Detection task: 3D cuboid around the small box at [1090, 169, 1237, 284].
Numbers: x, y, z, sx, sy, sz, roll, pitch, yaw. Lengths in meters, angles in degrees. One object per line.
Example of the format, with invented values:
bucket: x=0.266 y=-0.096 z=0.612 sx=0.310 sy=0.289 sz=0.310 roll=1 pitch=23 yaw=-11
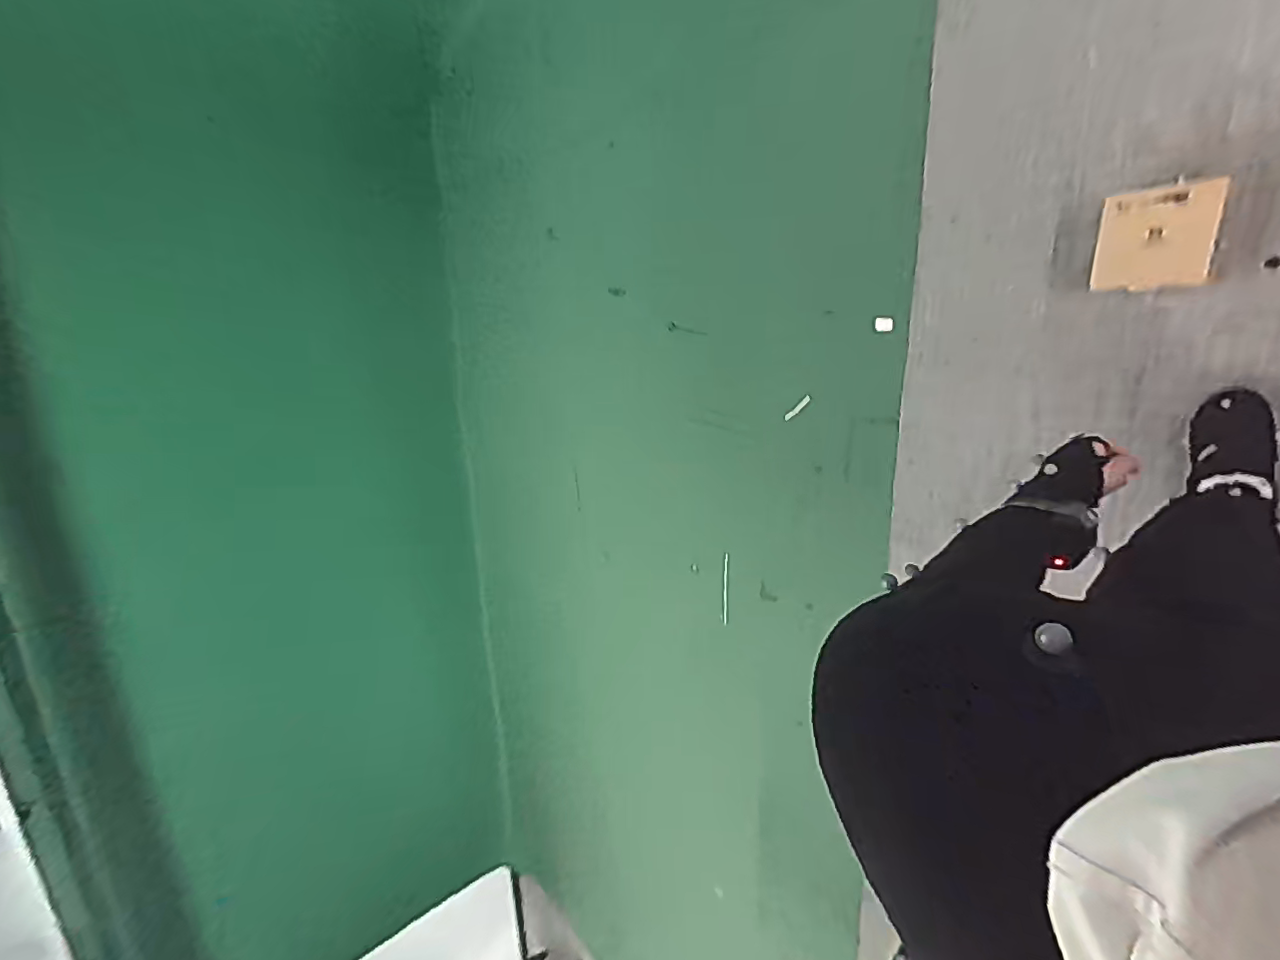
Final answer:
small box: x=1.003 y=-0.472 z=1.036 sx=0.168 sy=0.176 sz=0.179 roll=17 pitch=113 yaw=47
